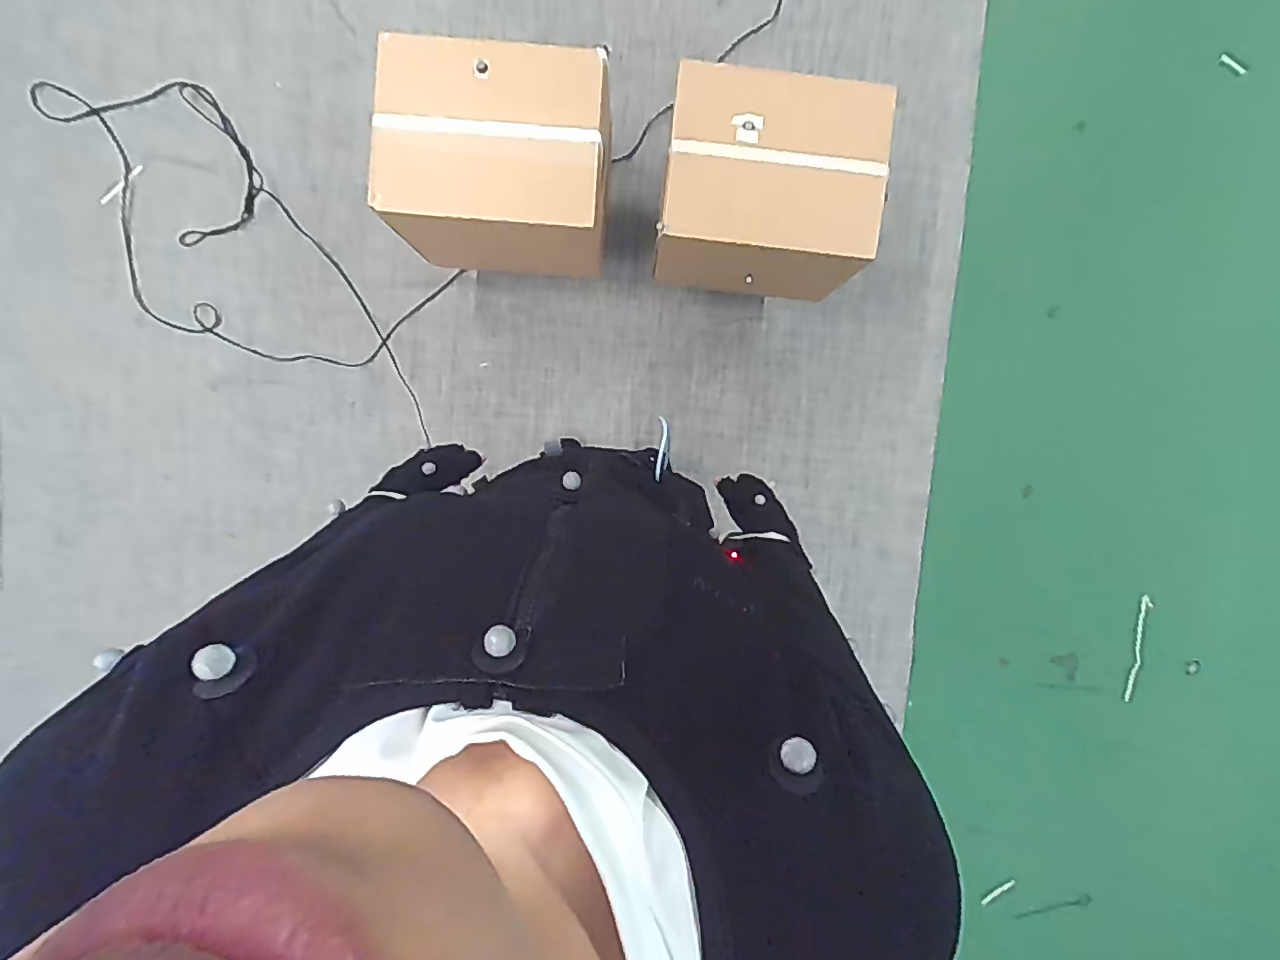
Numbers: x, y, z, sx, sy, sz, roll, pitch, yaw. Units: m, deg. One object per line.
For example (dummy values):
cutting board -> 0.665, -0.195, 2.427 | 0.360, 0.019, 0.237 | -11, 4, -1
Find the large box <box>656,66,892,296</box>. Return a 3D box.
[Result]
large box -> 0.254, -0.600, 1.152 | 0.408, 0.320, 0.320 | 7, 94, -2
